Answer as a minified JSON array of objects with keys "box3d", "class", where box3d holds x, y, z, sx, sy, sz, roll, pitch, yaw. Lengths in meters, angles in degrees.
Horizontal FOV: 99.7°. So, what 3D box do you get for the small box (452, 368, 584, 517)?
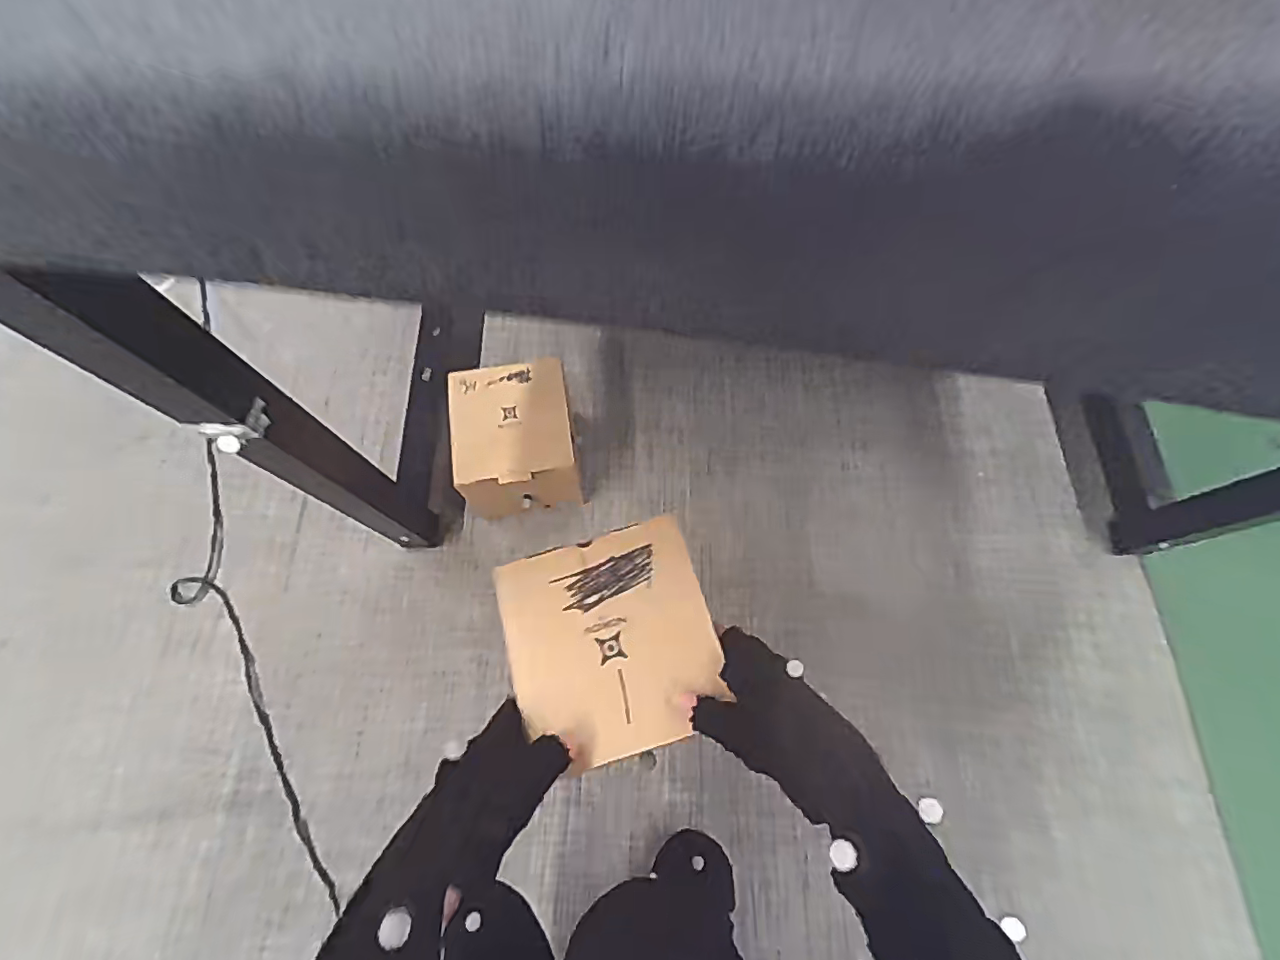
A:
[{"box3d":[-0.181,-0.048,0.838,0.168,0.176,0.179,-8,71,-4],"class":"small box"}]
